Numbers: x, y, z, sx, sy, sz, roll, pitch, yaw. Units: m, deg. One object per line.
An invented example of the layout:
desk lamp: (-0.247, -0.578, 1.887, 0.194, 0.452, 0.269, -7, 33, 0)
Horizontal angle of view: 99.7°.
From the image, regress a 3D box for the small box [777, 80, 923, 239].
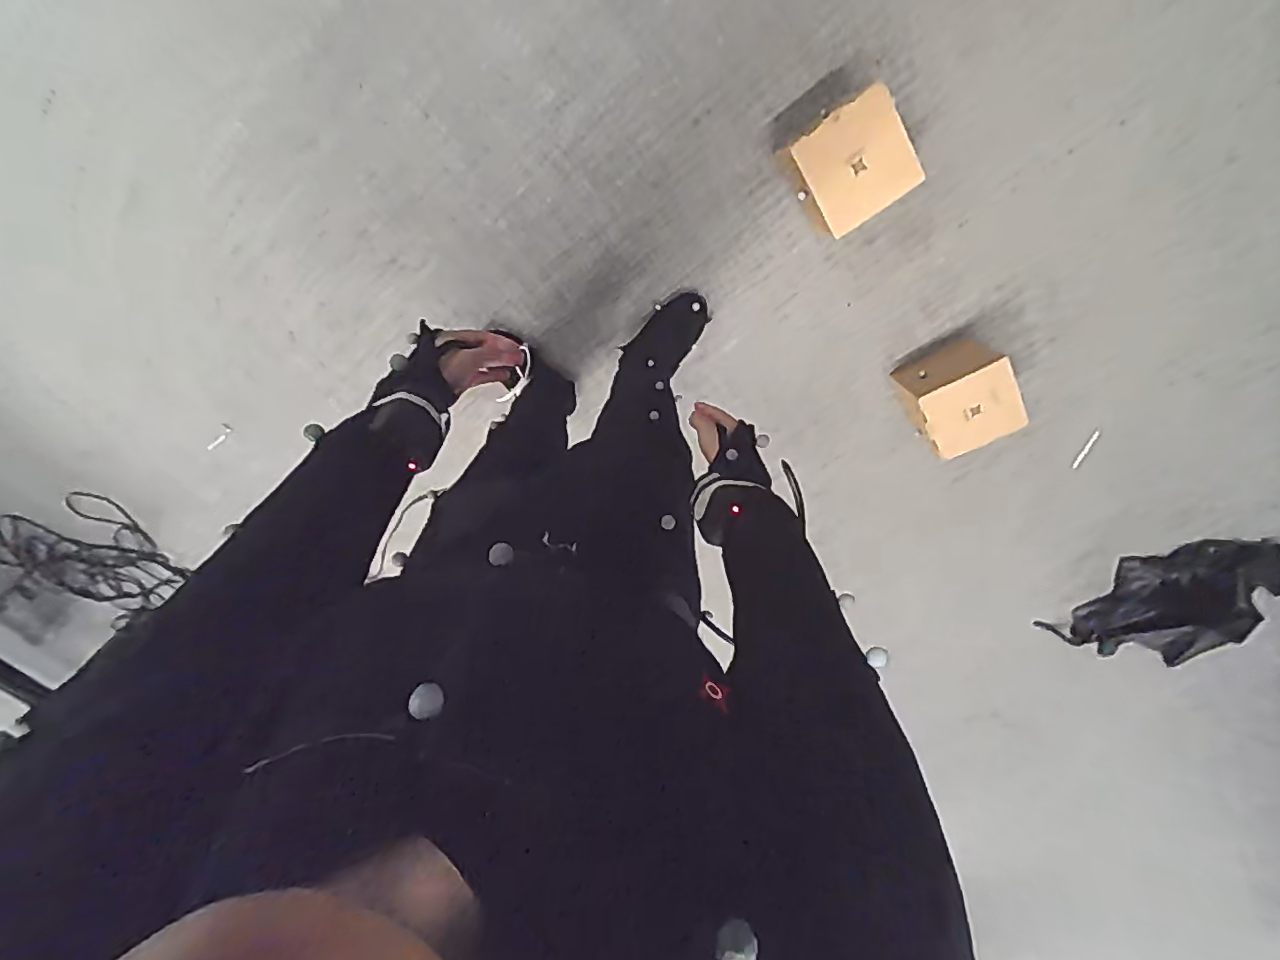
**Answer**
small box: (0.367, -0.564, 0.968, 0.168, 0.176, 0.179, -31, 111, 19)

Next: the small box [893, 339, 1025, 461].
small box: (0.665, -0.175, 1.151, 0.179, 0.176, 0.168, -27, 114, 16)
